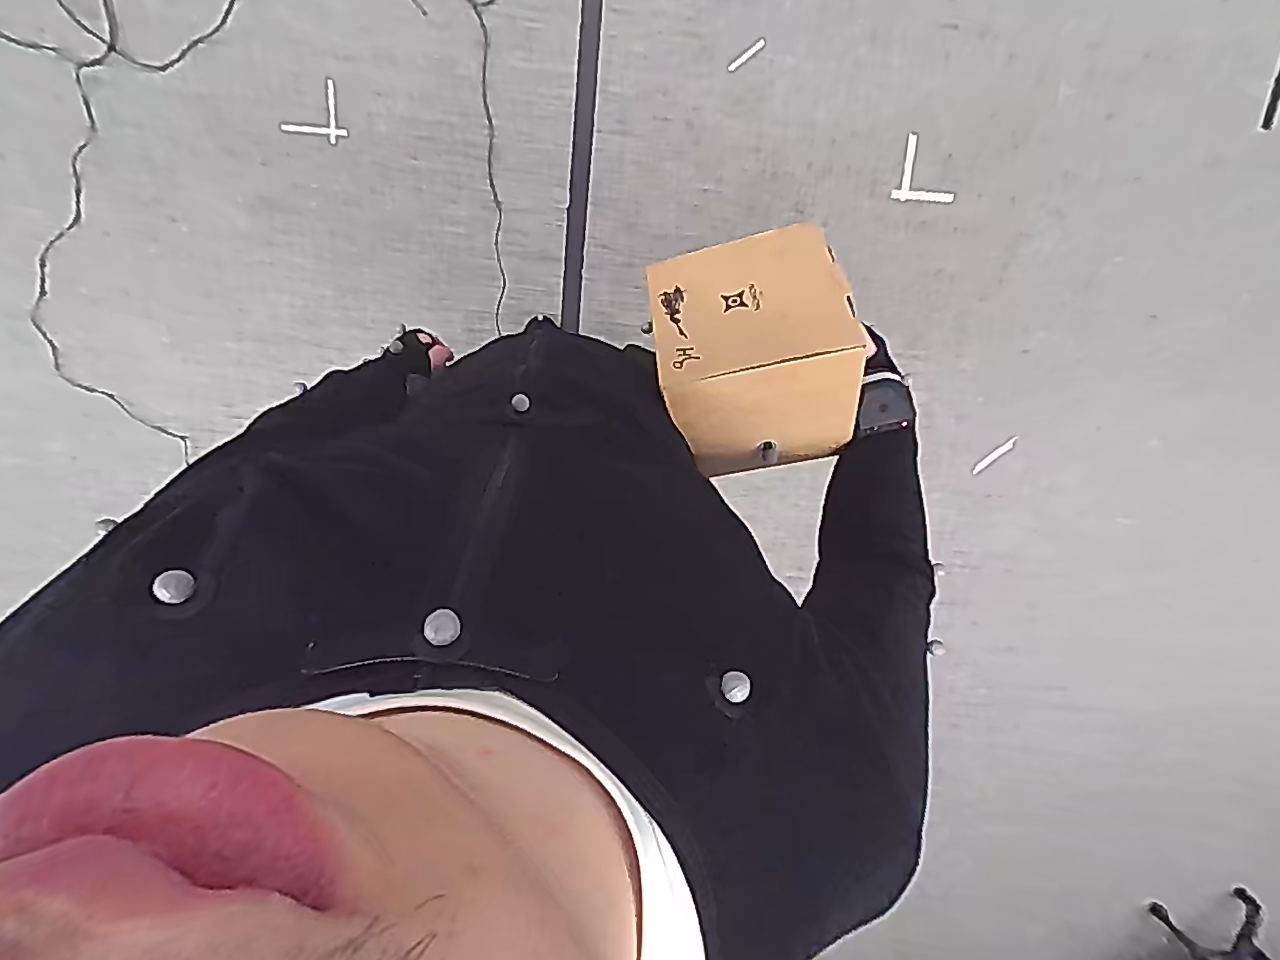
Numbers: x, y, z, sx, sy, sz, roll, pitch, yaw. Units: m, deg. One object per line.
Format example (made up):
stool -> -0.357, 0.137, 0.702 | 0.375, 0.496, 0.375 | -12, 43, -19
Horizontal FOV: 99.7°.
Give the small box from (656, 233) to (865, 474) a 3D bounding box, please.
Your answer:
small box -> 0.122, -0.125, 0.583 | 0.179, 0.168, 0.176 | -10, 148, 9
